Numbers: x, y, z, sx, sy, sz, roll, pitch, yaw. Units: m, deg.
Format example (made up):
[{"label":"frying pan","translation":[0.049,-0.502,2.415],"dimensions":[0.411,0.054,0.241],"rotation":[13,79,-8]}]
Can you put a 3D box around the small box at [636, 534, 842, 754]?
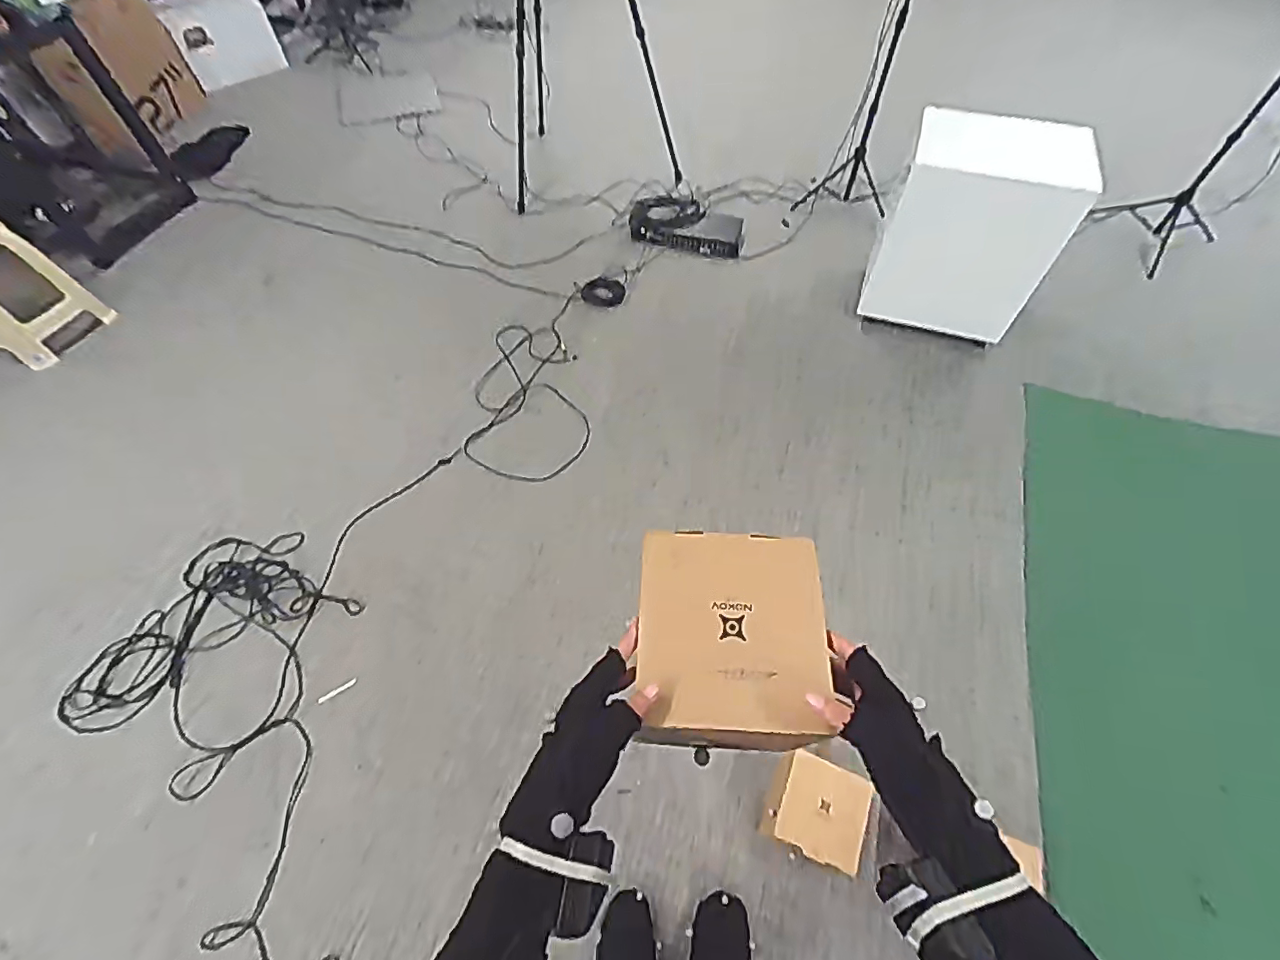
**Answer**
[{"label":"small box","translation":[0.081,0.169,0.541],"dimensions":[0.168,0.176,0.179],"rotation":[1,60,0]}]

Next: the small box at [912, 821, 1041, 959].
[{"label":"small box","translation":[0.661,0.811,1.078],"dimensions":[0.168,0.176,0.179],"rotation":[17,57,11]}]

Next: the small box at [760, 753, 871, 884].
[{"label":"small box","translation":[0.365,0.714,1.146],"dimensions":[0.168,0.176,0.179],"rotation":[21,59,14]}]
